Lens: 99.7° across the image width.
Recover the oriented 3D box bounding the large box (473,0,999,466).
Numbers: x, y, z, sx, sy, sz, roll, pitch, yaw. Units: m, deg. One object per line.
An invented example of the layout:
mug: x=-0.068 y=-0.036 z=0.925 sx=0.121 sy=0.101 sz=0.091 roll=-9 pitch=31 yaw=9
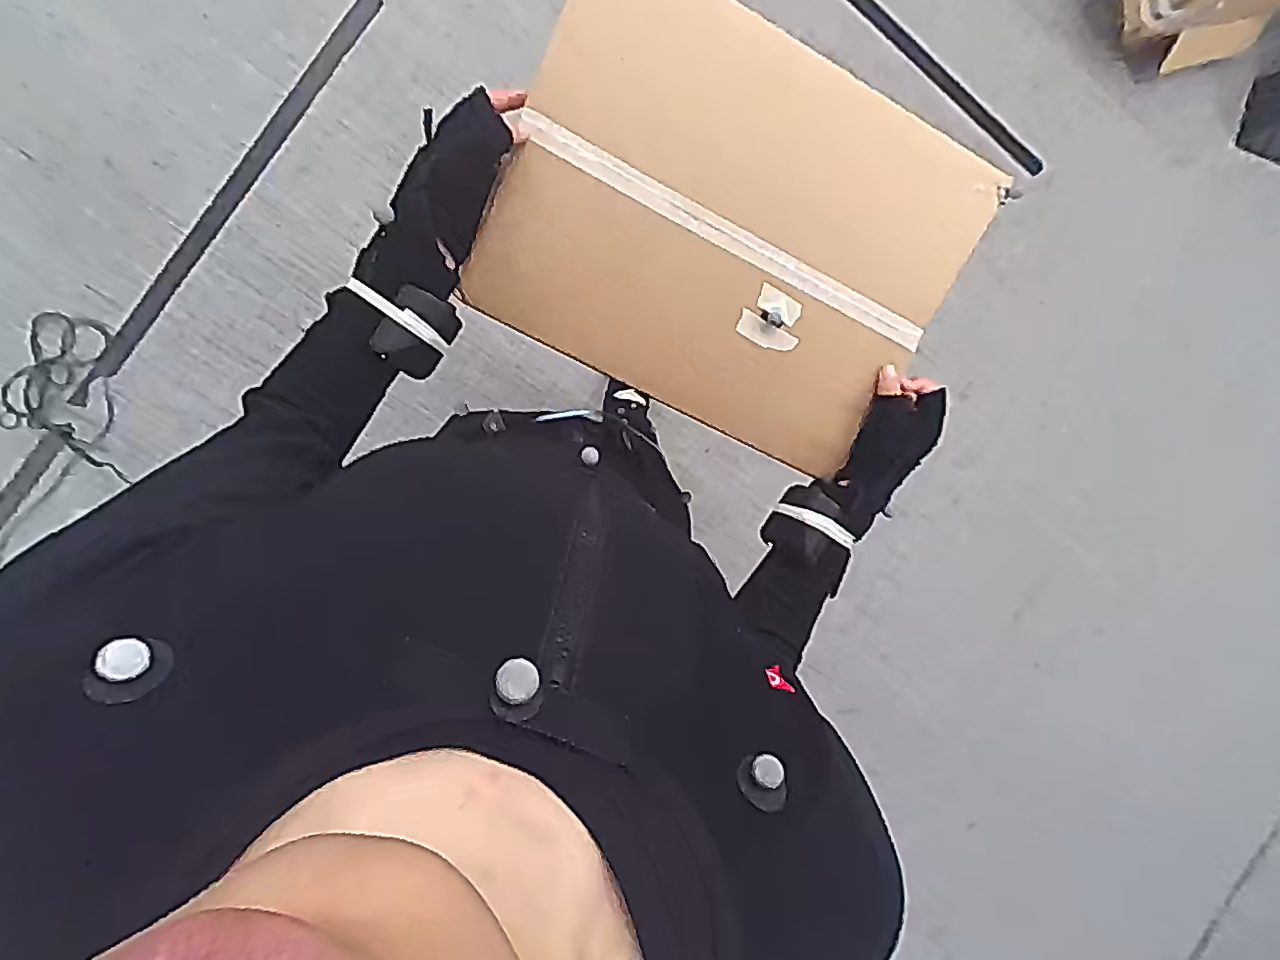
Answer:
large box: x=0.077 y=-0.263 z=0.636 sx=0.408 sy=0.320 sz=0.320 roll=25 pitch=103 yaw=-10
